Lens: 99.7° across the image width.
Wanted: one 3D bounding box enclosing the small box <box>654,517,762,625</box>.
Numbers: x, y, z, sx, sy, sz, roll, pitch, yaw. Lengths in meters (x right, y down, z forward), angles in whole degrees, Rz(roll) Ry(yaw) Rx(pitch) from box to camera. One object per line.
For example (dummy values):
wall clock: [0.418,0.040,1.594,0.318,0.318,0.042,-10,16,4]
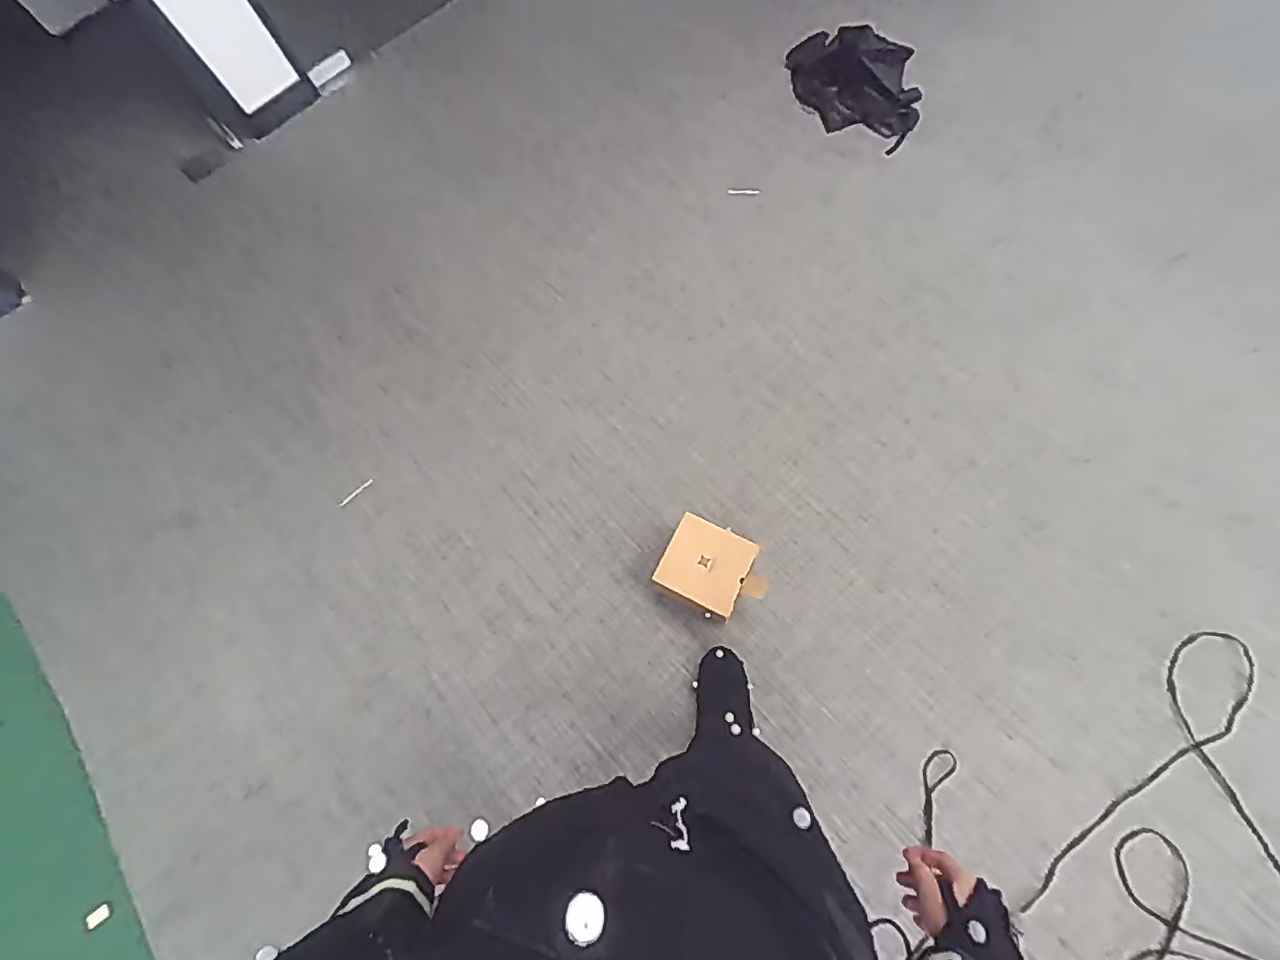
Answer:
small box: [0.148,0.208,1.192,0.179,0.176,0.168,25,75,13]
